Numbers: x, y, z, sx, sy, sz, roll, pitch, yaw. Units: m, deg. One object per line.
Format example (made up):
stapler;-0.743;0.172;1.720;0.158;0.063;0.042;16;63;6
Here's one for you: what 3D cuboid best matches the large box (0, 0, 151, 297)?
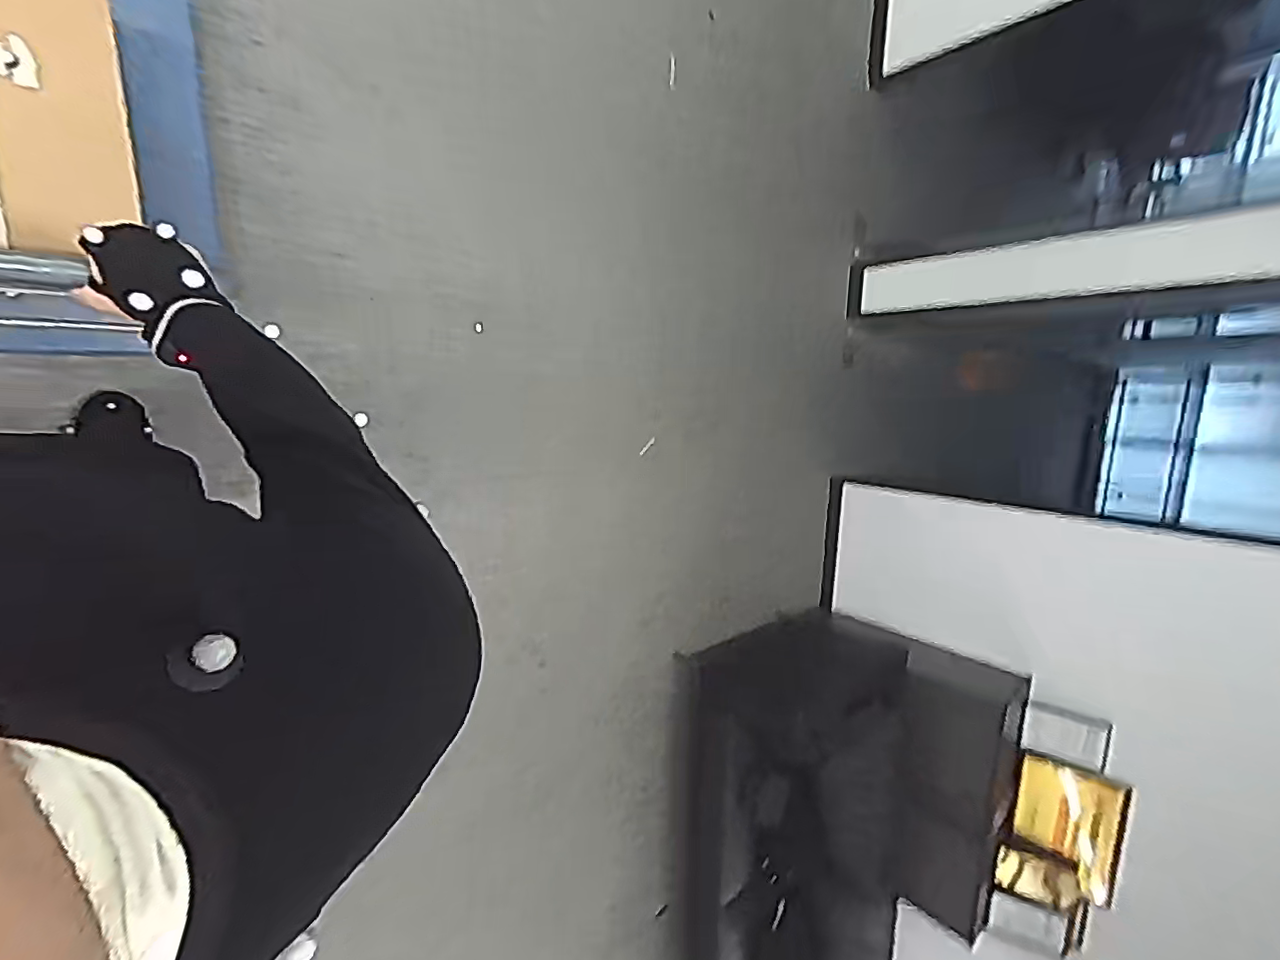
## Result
large box;-0.991;-0.515;0.826;0.320;0.320;0.408;-9;103;-41
